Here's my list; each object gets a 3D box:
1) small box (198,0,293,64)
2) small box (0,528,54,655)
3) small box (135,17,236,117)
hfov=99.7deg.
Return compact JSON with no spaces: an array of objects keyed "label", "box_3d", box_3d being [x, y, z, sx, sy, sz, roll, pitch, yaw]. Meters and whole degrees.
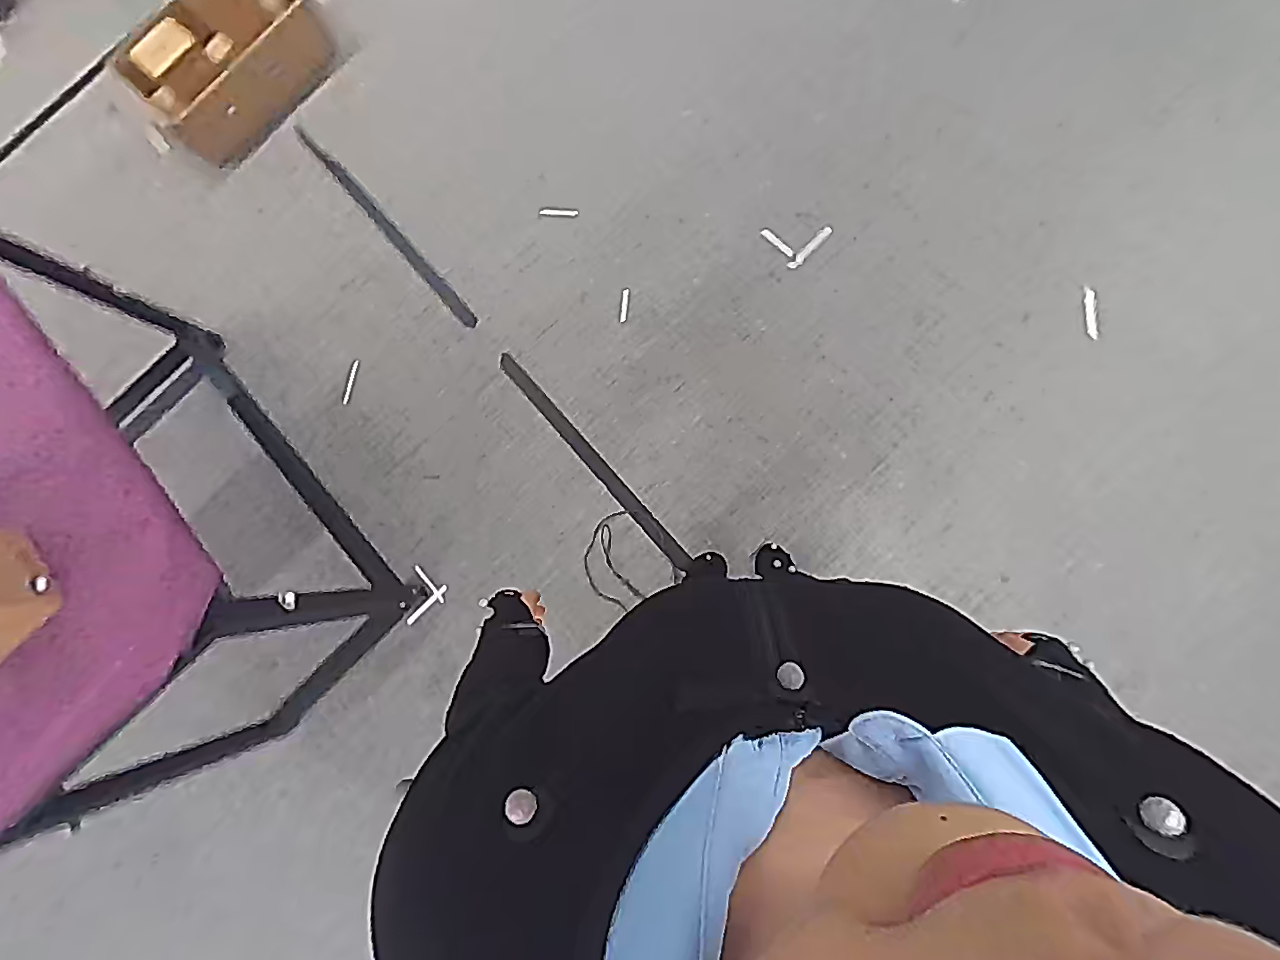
[{"label":"small box","box_3d":[-1.345,-1.580,1.843,0.179,0.176,0.168,43,89,11]},{"label":"small box","box_3d":[-1.077,0.181,0.834,0.179,0.176,0.168,-43,78,-2]},{"label":"small box","box_3d":[-1.522,-1.391,1.829,0.168,0.176,0.179,41,86,12]}]
